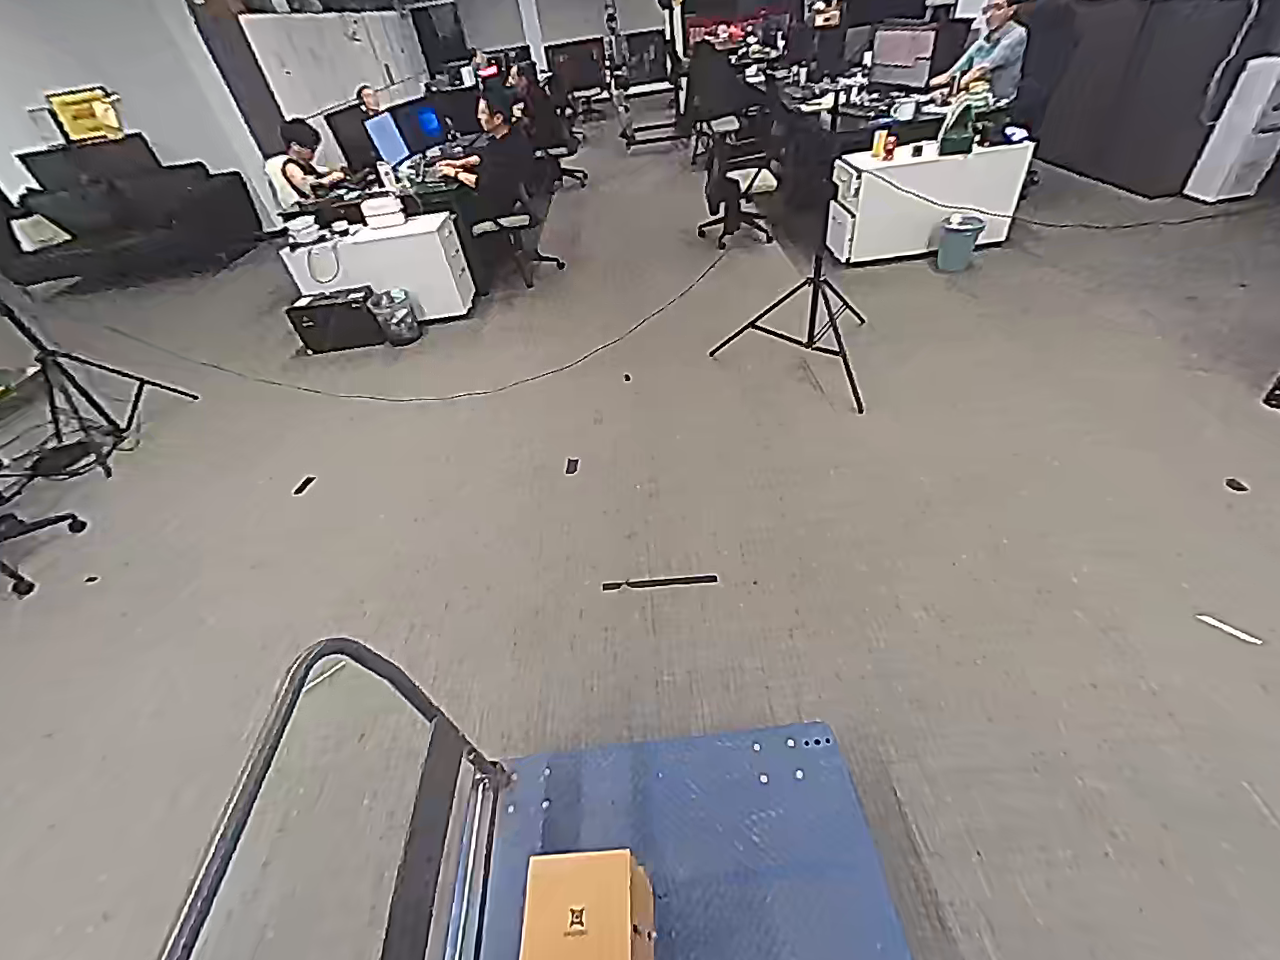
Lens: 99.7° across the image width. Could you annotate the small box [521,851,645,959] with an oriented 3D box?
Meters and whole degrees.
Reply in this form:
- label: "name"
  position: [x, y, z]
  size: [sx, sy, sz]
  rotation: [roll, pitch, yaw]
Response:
- label: "small box"
  position: [-0.083, 0.713, 0.850]
  size: [0.168, 0.176, 0.179]
  rotation: [-6, 43, 3]
